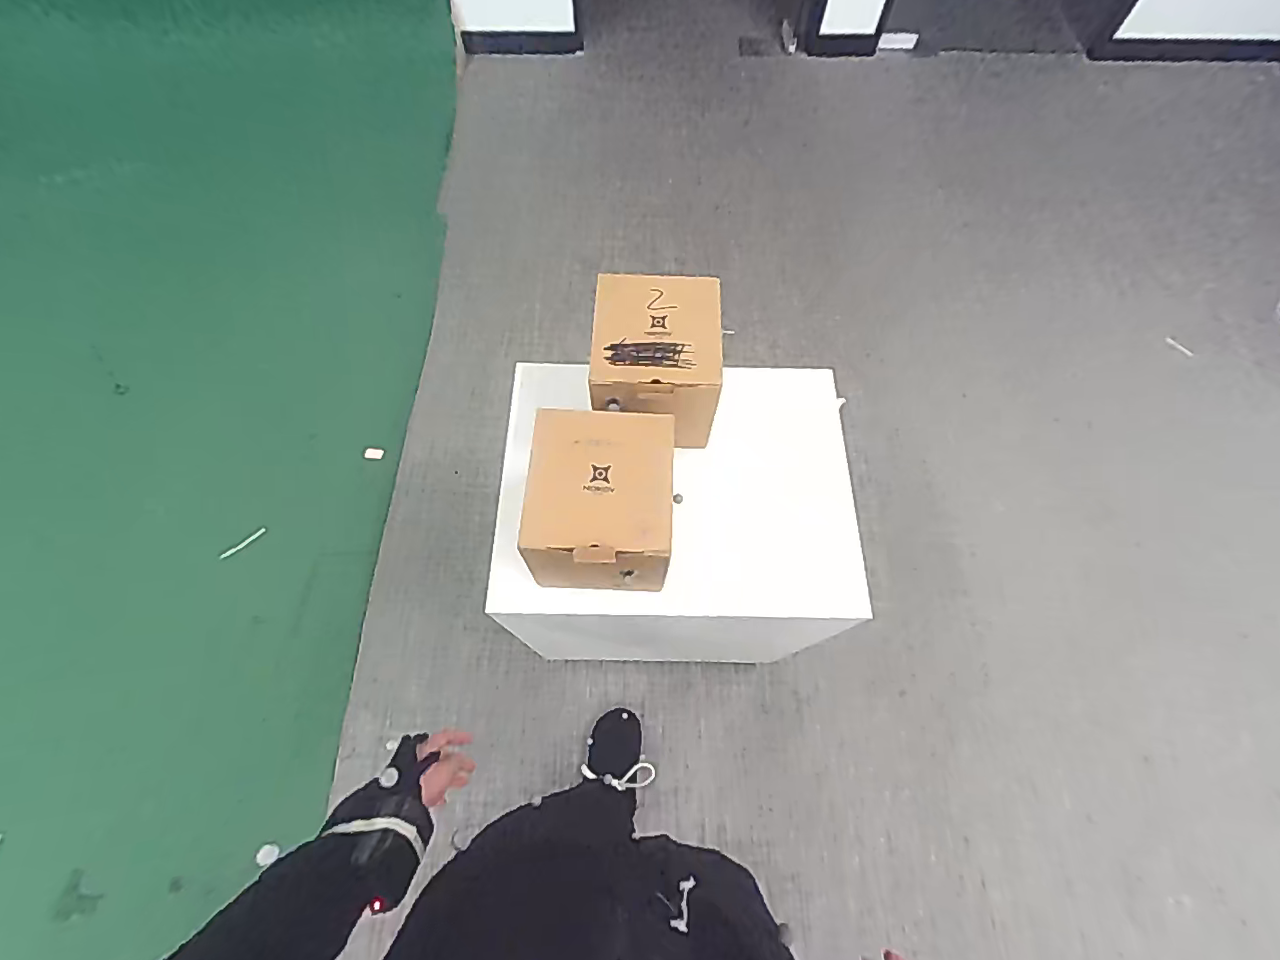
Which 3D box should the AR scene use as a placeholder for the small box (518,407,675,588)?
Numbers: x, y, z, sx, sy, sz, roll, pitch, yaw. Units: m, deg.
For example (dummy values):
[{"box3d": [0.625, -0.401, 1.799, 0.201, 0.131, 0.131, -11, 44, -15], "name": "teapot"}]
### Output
[{"box3d": [-0.046, 0.030, 0.675, 0.168, 0.176, 0.179, 3, 64, -2], "name": "small box"}]
